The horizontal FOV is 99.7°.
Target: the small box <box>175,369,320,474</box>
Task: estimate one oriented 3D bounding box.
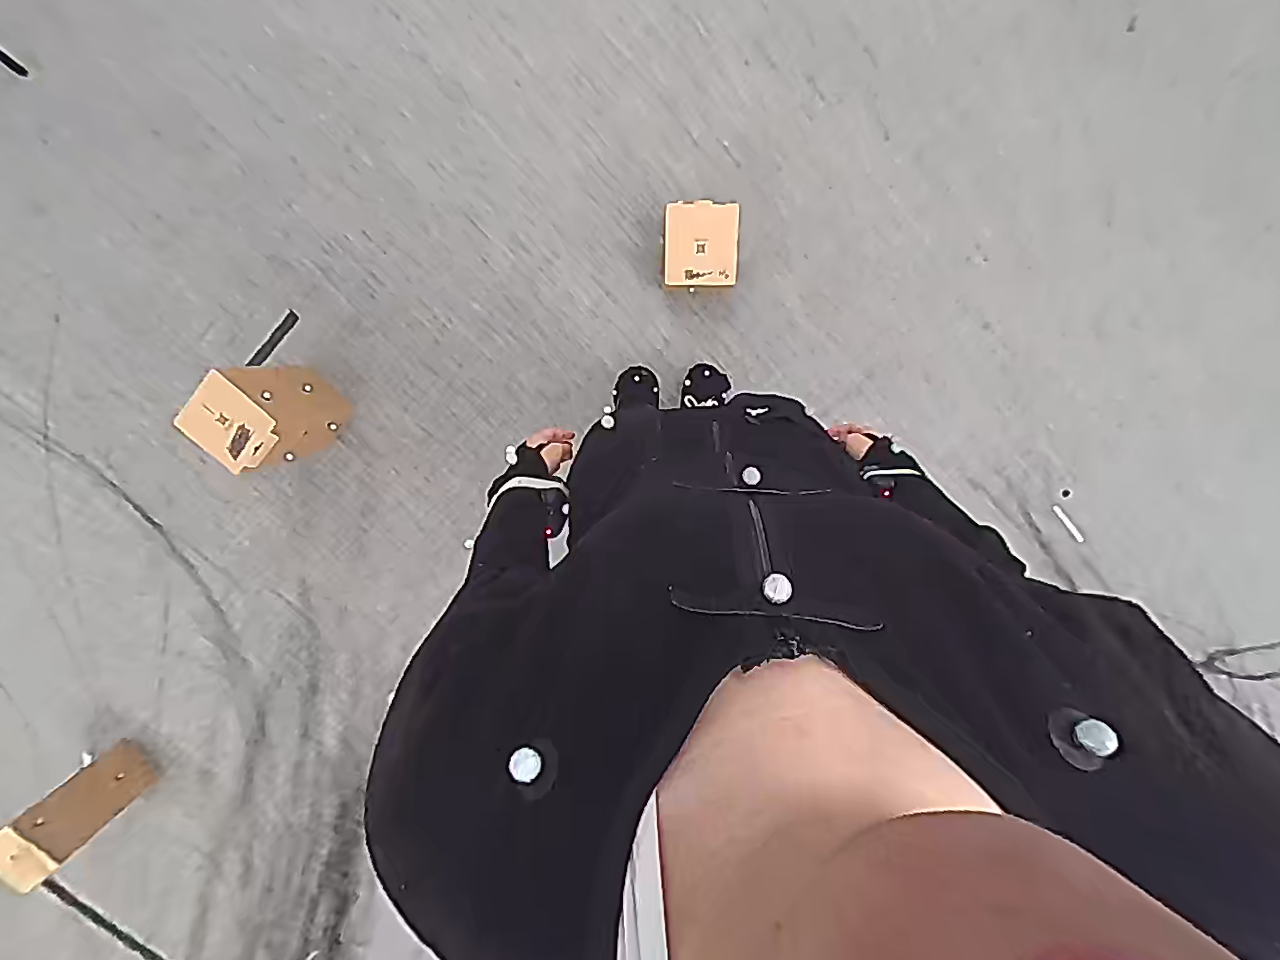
[{"bbox_3d":[-0.894,-0.144,1.252,0.179,0.176,0.168,43,100,-8],"label":"small box"}]

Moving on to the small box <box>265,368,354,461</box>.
[{"bbox_3d":[-0.895,-0.179,1.413,0.179,0.176,0.168,42,100,-7],"label":"small box"}]

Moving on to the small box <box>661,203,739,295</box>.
[{"bbox_3d":[0.138,-0.549,1.298,0.168,0.176,0.179,1,103,0],"label":"small box"}]

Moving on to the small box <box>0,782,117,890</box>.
[{"bbox_3d":[-1.682,1.002,1.543,0.168,0.176,0.179,-38,101,10],"label":"small box"}]
